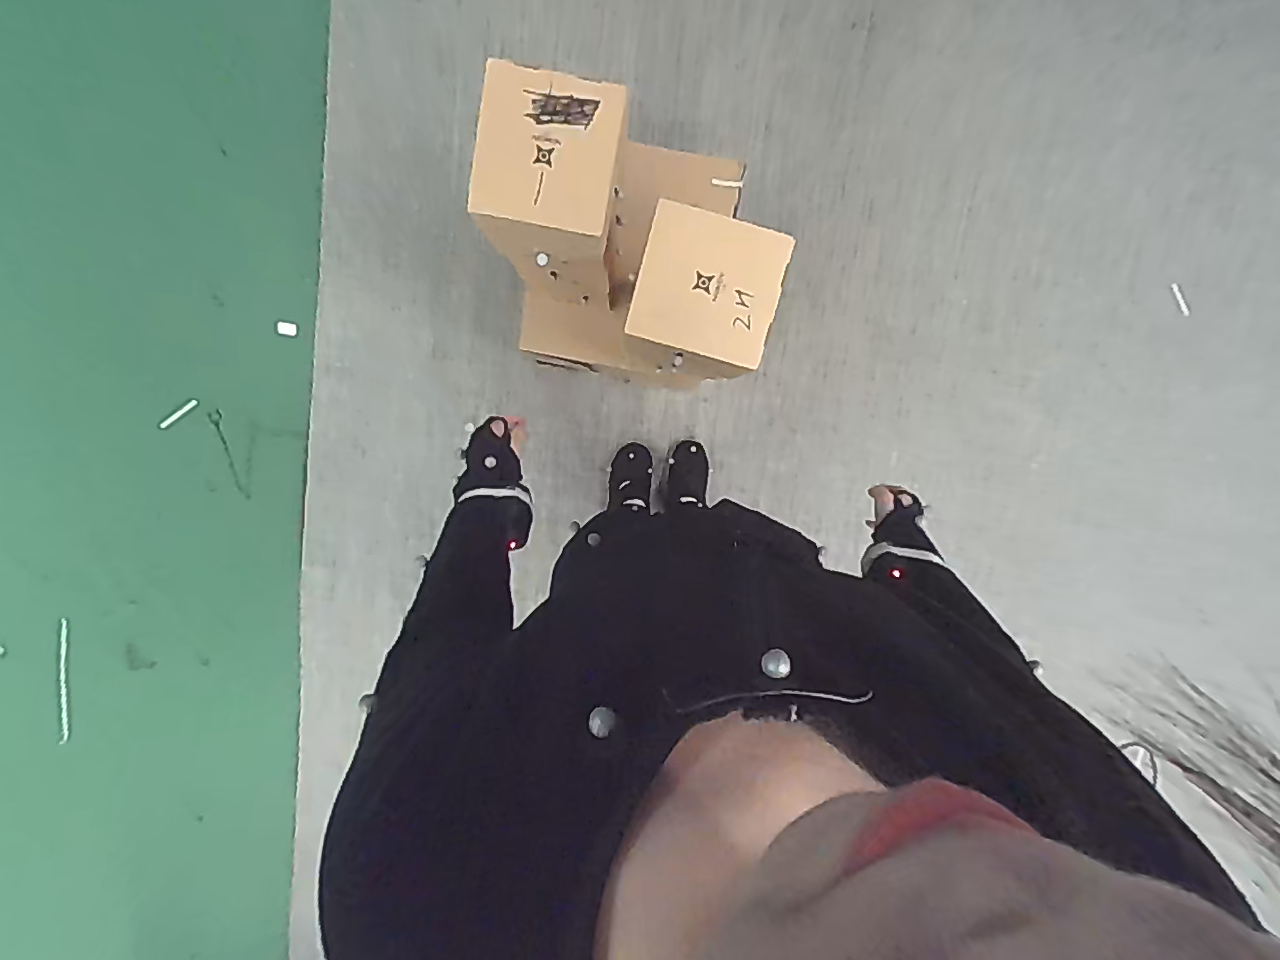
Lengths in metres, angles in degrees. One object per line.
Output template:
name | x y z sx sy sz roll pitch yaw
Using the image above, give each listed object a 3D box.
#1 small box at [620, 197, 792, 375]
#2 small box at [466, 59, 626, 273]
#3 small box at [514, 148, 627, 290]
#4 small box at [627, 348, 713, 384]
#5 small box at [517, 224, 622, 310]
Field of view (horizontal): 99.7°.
small box | 0.077 -0.246 0.733 0.179 0.176 0.168 15 96 -3
small box | -0.115 -0.399 0.719 0.168 0.176 0.179 10 96 -2
small box | -0.118 -0.429 0.880 0.168 0.176 0.179 10 97 -3
small box | 0.069 -0.297 1.060 0.168 0.176 0.179 12 94 -3
small box | -0.127 -0.442 1.043 0.168 0.176 0.179 10 94 -2
